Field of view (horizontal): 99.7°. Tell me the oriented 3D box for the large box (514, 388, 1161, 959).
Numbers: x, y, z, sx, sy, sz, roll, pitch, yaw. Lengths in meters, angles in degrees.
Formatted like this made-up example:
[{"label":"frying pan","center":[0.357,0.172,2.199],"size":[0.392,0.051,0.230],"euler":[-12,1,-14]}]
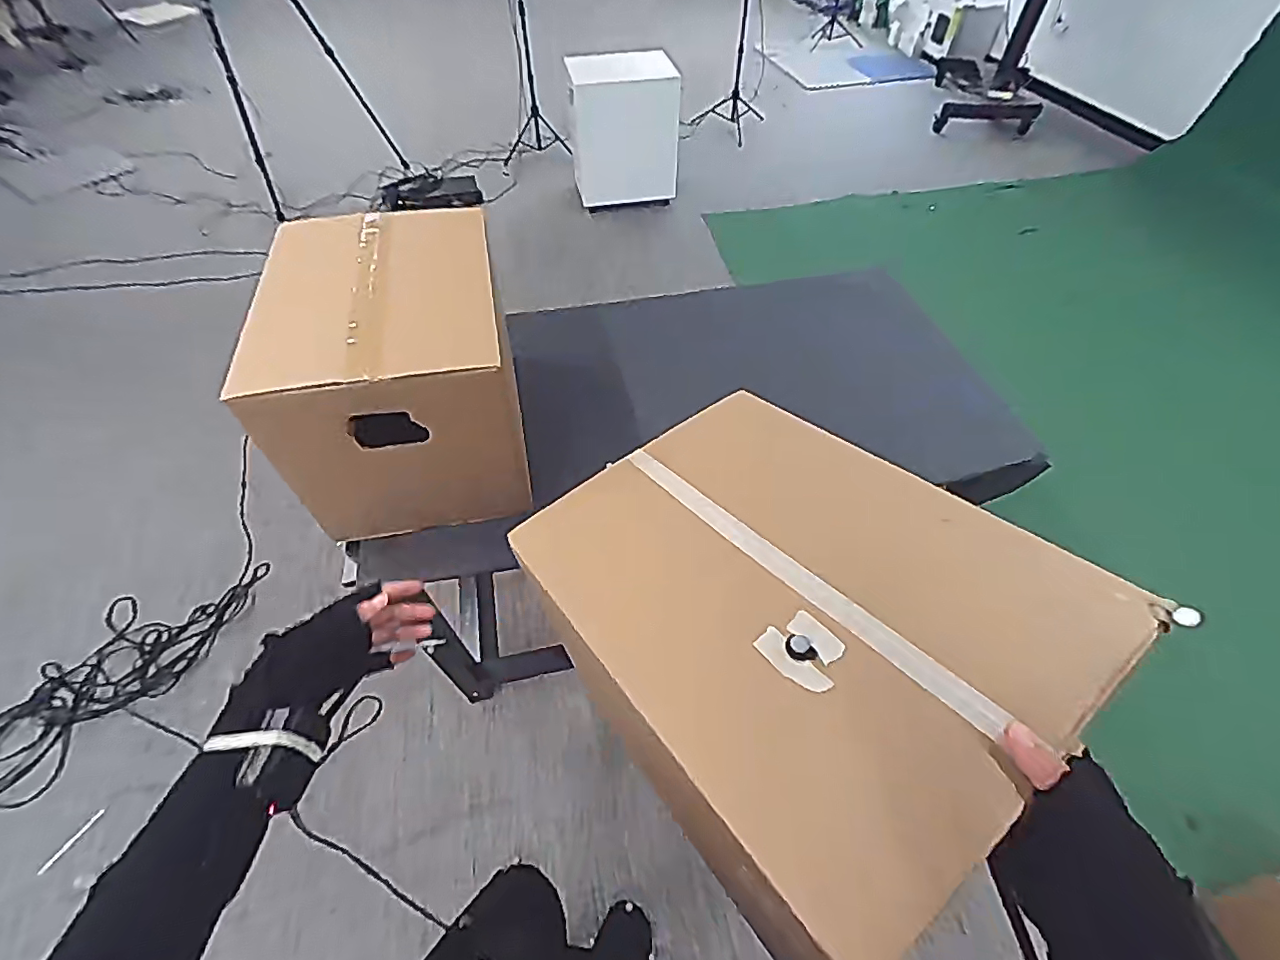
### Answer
[{"label":"large box","center":[0.138,0.169,0.537],"size":[0.320,0.320,0.408],"euler":[-33,45,-19]}]
